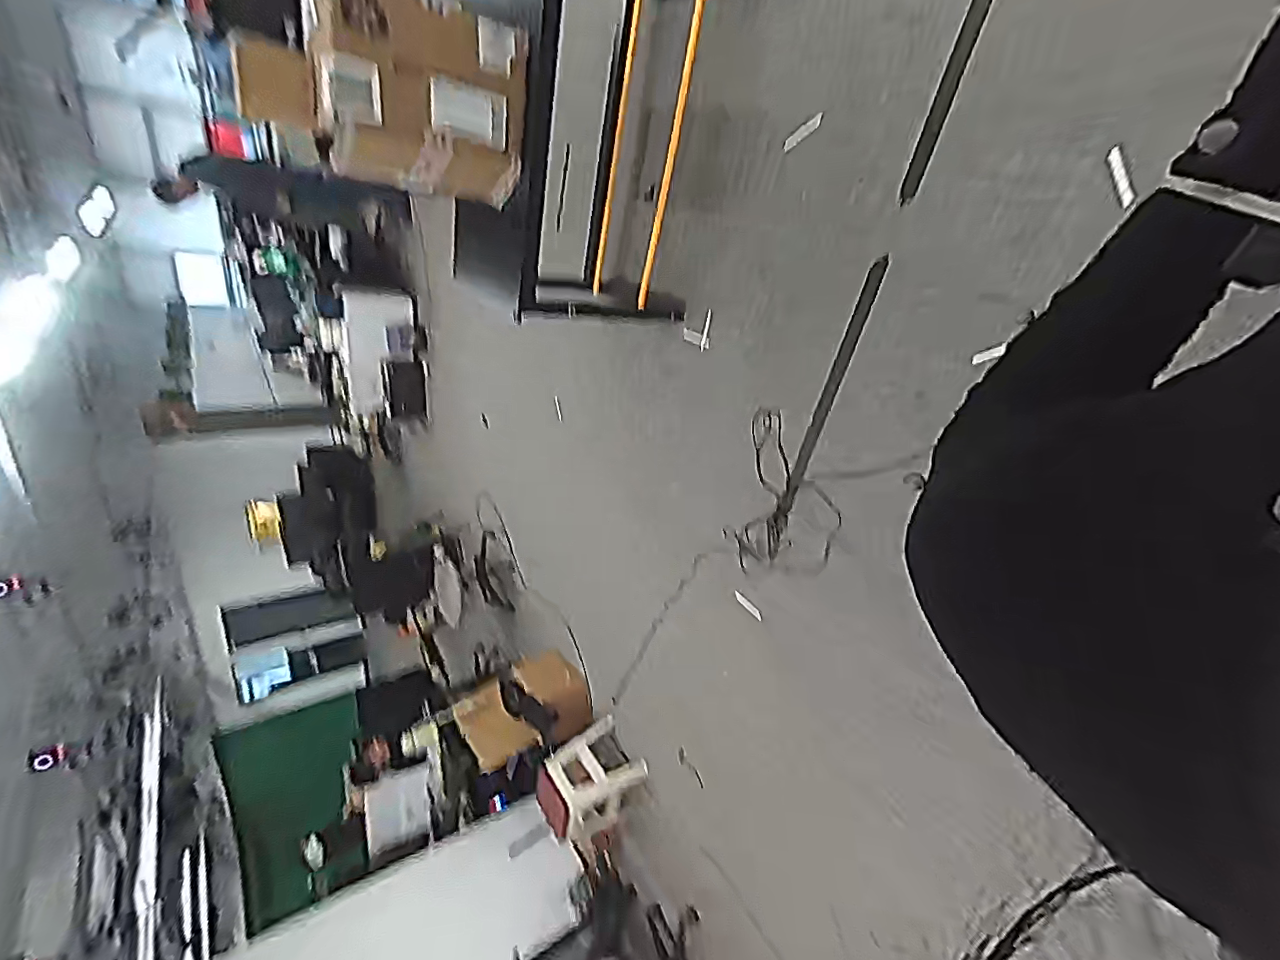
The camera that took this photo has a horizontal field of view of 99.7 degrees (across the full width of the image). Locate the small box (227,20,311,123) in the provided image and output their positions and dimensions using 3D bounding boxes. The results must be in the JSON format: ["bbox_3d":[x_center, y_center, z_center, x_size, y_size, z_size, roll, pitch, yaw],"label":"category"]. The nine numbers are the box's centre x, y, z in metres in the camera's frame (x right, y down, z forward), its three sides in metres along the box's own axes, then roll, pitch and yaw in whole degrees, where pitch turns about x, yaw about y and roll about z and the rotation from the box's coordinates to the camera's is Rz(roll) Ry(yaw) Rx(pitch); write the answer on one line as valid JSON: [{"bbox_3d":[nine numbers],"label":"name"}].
[{"bbox_3d":[-0.971,-1.060,1.421,0.179,0.176,0.168,35,123,46],"label":"small box"}]
